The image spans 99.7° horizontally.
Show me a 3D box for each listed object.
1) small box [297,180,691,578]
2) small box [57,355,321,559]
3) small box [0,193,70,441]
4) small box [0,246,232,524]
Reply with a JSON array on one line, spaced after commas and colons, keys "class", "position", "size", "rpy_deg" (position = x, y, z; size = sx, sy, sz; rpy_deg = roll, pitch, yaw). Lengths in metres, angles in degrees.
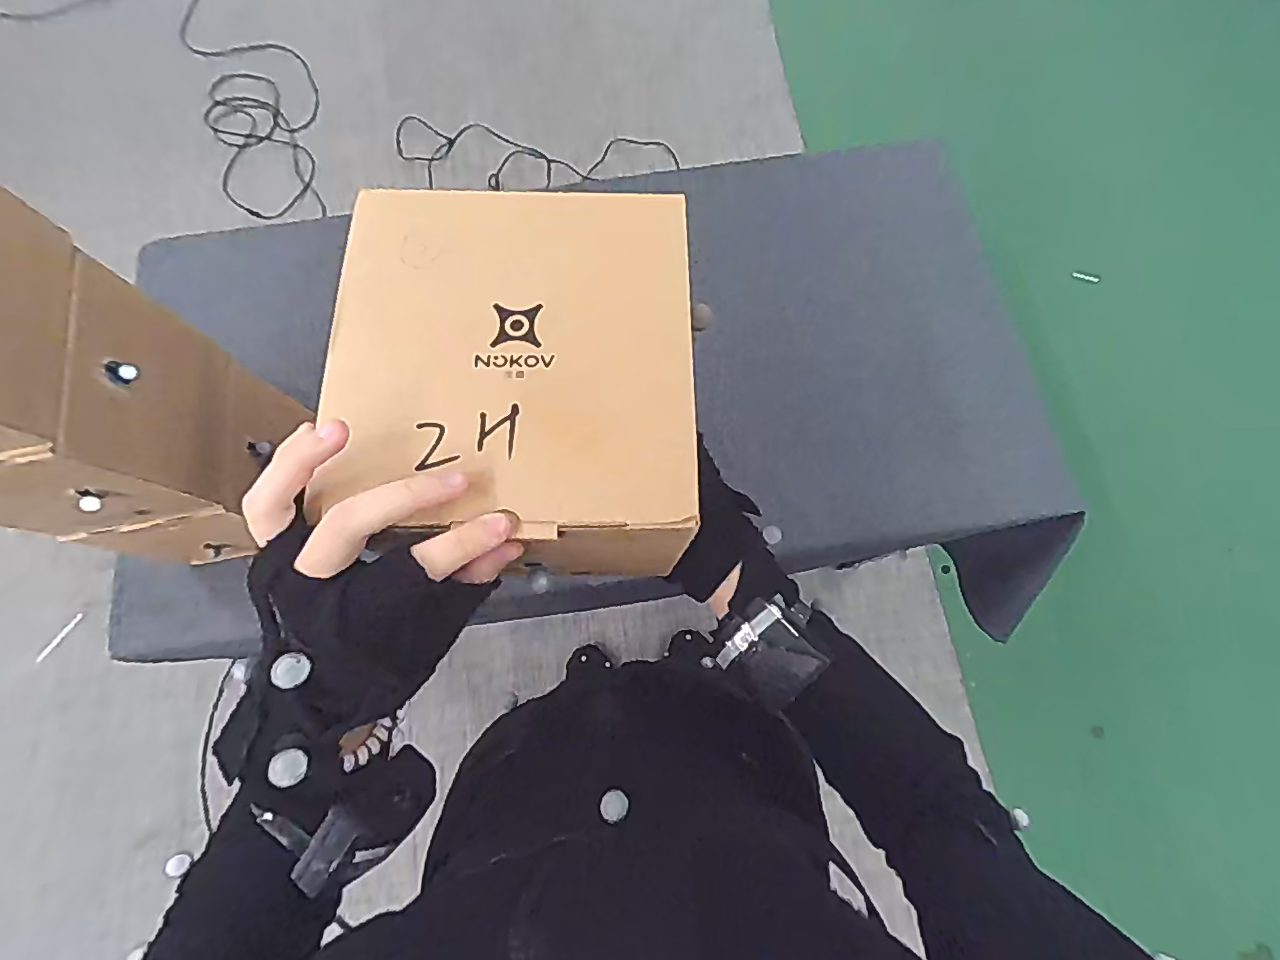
[{"class": "small box", "position": [-0.062, -0.041, 0.325], "size": [0.168, 0.176, 0.179], "rpy_deg": [2, 73, -2]}, {"class": "small box", "position": [-0.496, -0.017, 0.625], "size": [0.168, 0.176, 0.179], "rpy_deg": [-10, 75, -2]}, {"class": "small box", "position": [-0.498, -0.117, 0.314], "size": [0.168, 0.176, 0.179], "rpy_deg": [-11, 74, -4]}, {"class": "small box", "position": [-0.496, -0.065, 0.470], "size": [0.168, 0.176, 0.179], "rpy_deg": [-9, 74, -3]}]
